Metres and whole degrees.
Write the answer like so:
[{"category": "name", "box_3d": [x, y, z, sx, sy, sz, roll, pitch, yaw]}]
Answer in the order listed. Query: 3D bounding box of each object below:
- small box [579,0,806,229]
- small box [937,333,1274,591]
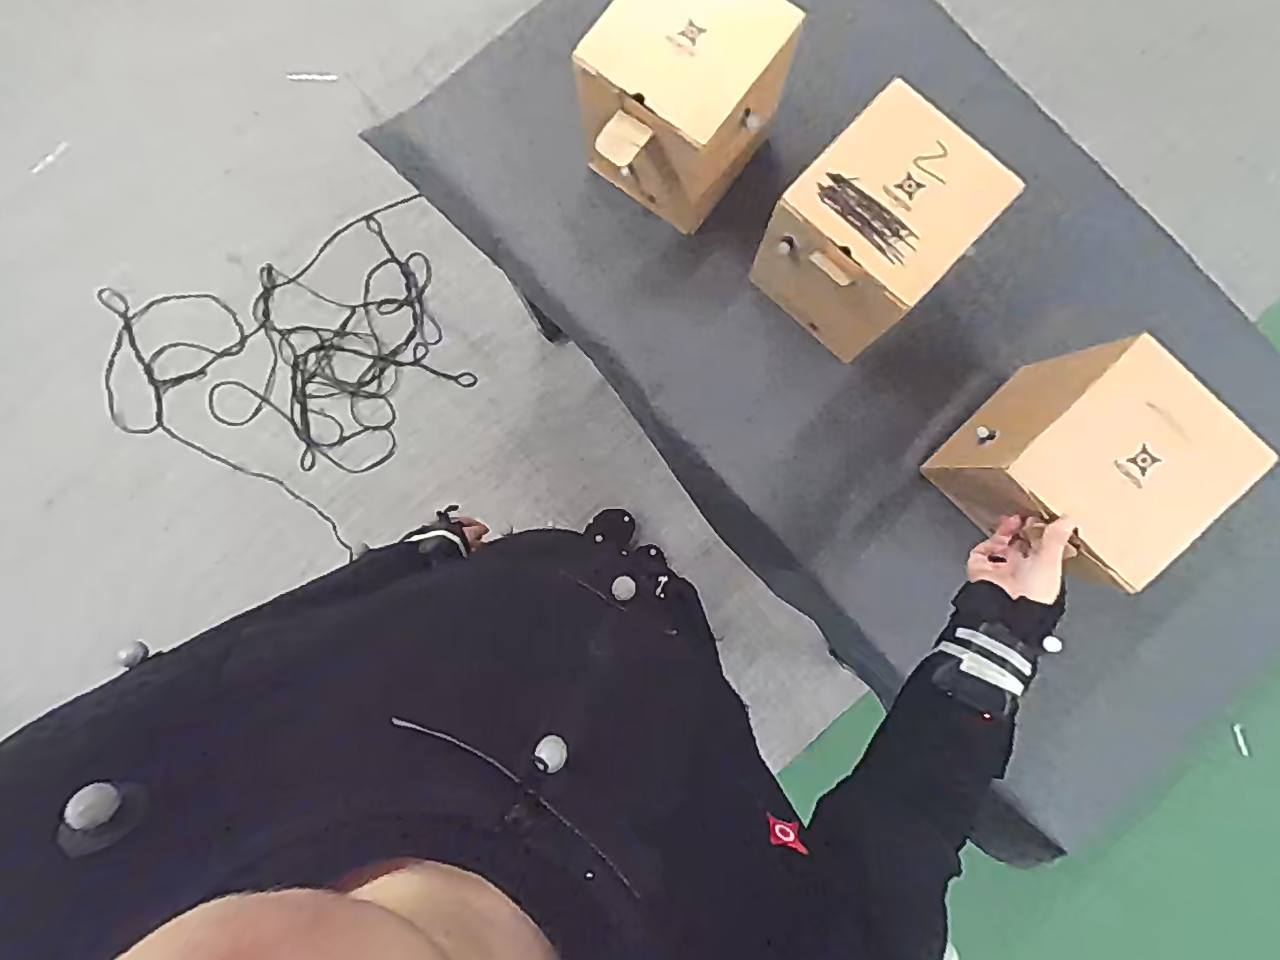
[{"category": "small box", "box_3d": [0.051, -0.434, 0.615, 0.168, 0.176, 0.179, 36, 87, 3]}, {"category": "small box", "box_3d": [0.449, -0.017, 0.563, 0.168, 0.176, 0.179, 43, 92, -1]}]
